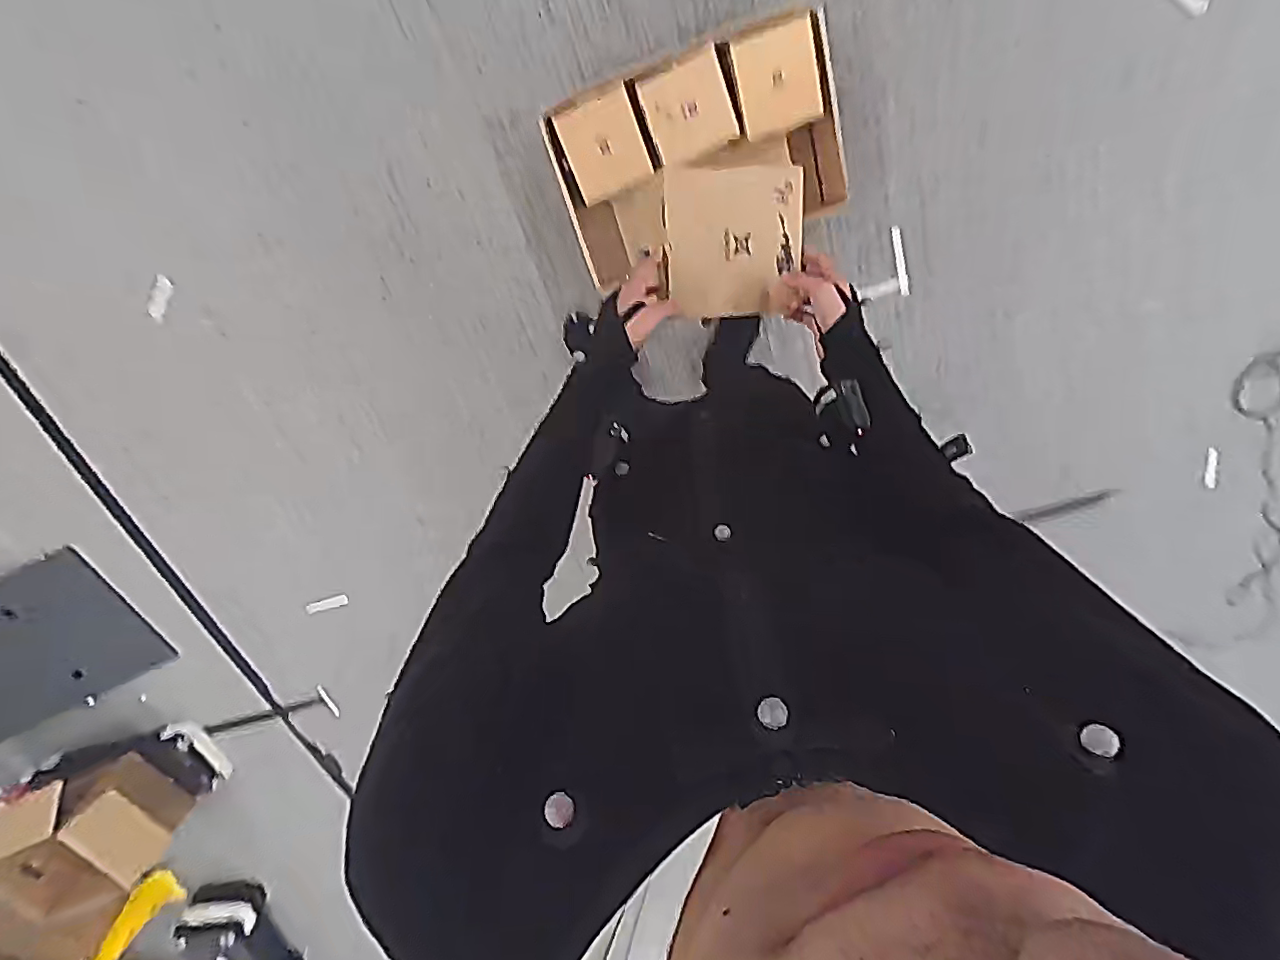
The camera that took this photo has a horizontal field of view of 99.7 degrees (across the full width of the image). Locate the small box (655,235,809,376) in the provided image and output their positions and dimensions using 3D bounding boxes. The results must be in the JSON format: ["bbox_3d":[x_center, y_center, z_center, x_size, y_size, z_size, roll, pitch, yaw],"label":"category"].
[{"bbox_3d":[0.118,-0.234,0.757,0.179,0.176,0.168,-4,100,-9],"label":"small box"}]
